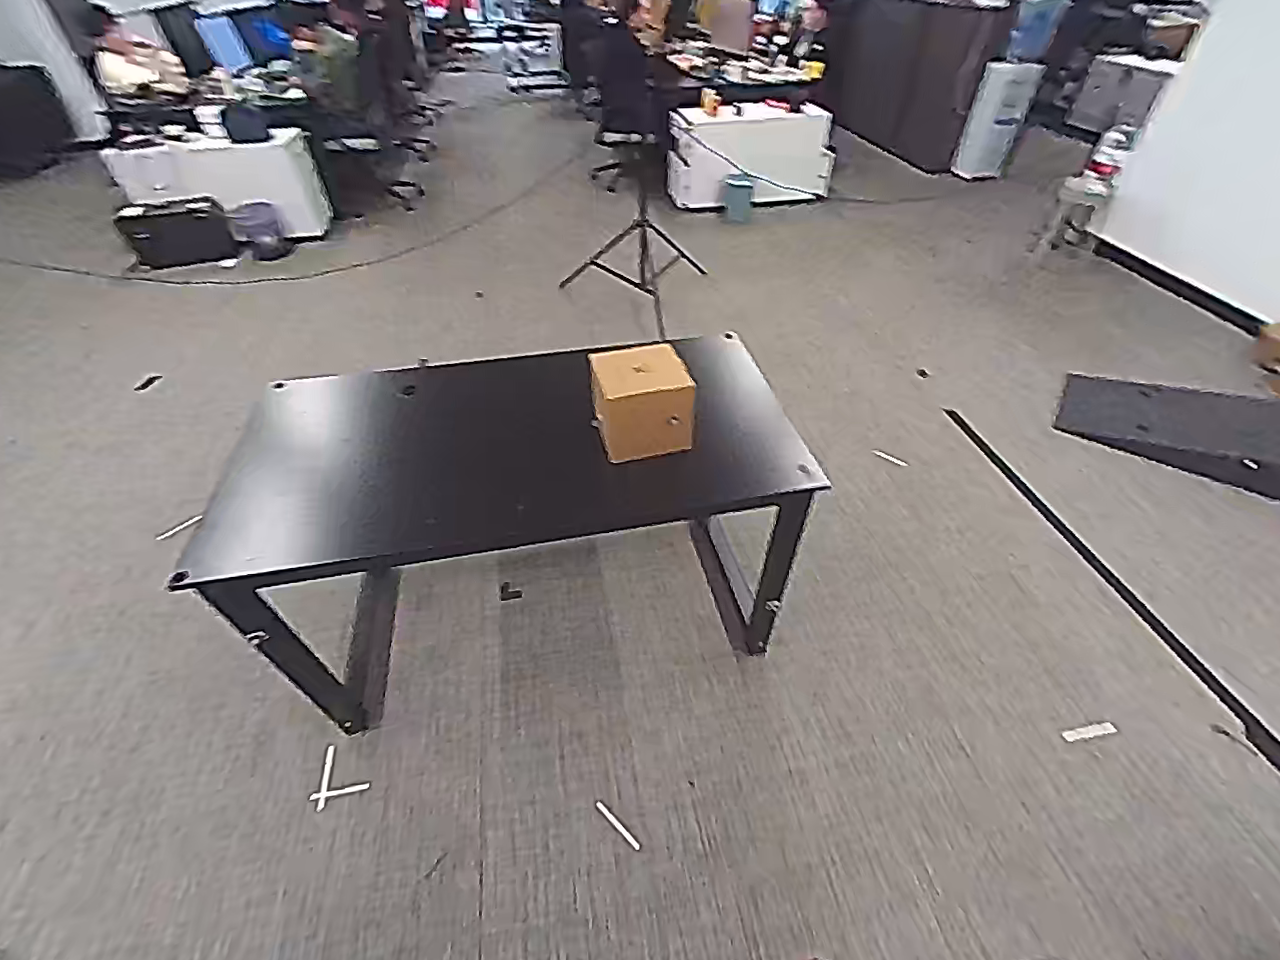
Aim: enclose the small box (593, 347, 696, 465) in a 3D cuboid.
[{"bbox_3d":[0.007,-0.156,1.141,0.179,0.176,0.168,-12,45,-9],"label":"small box"}]
